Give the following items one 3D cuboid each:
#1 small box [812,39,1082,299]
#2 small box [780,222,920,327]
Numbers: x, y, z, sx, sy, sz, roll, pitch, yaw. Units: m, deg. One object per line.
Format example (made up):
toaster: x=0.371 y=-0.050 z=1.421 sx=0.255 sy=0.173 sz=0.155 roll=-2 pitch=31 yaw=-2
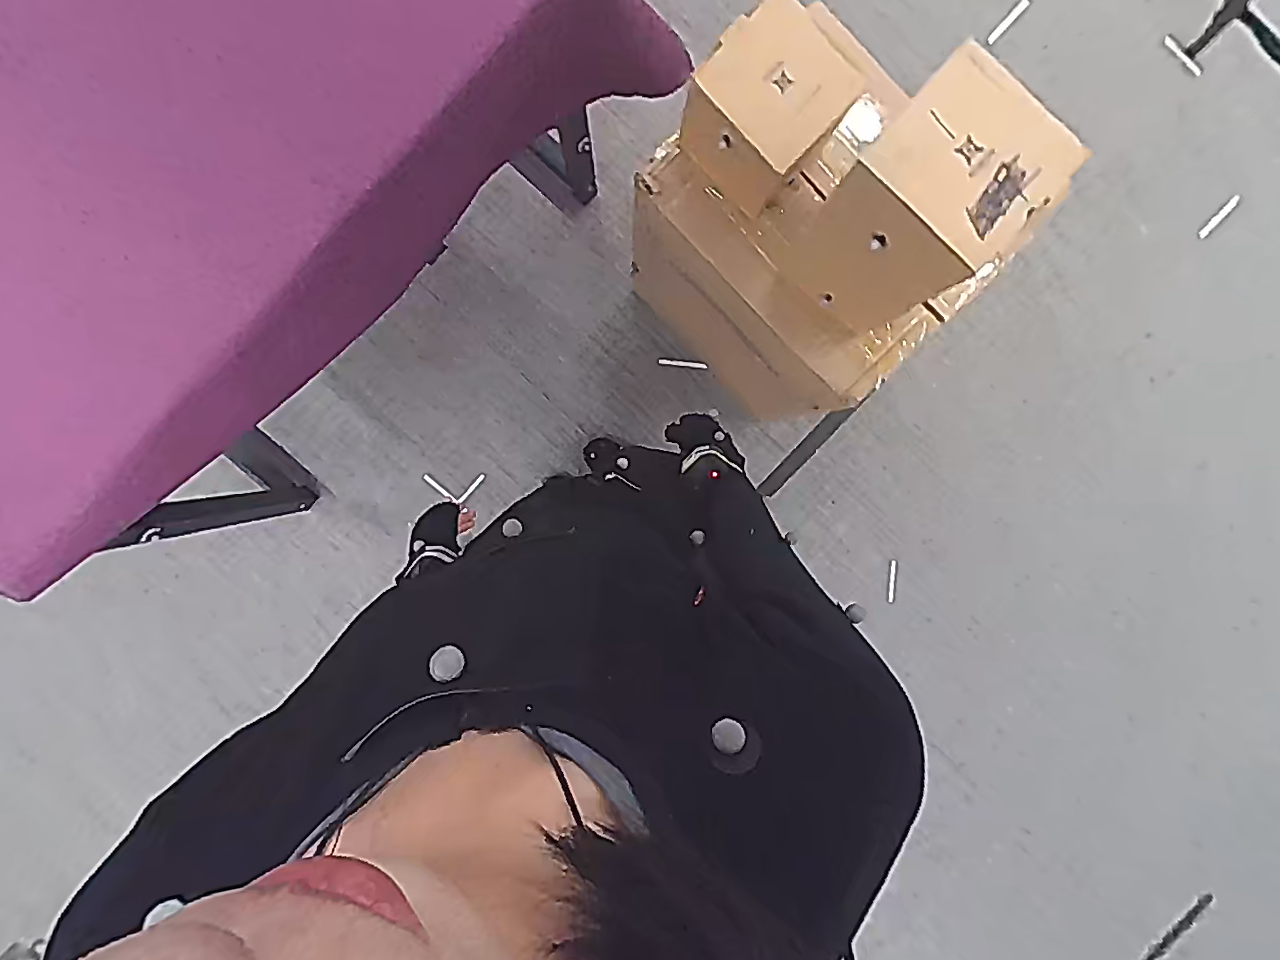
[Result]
small box: x=0.338 y=-0.336 z=0.633 sx=0.179 sy=0.176 sz=0.168 roll=43 pitch=92 yaw=-1
small box: x=0.339 y=-0.347 z=0.798 sx=0.179 sy=0.176 sz=0.168 roll=38 pitch=92 yaw=-3
